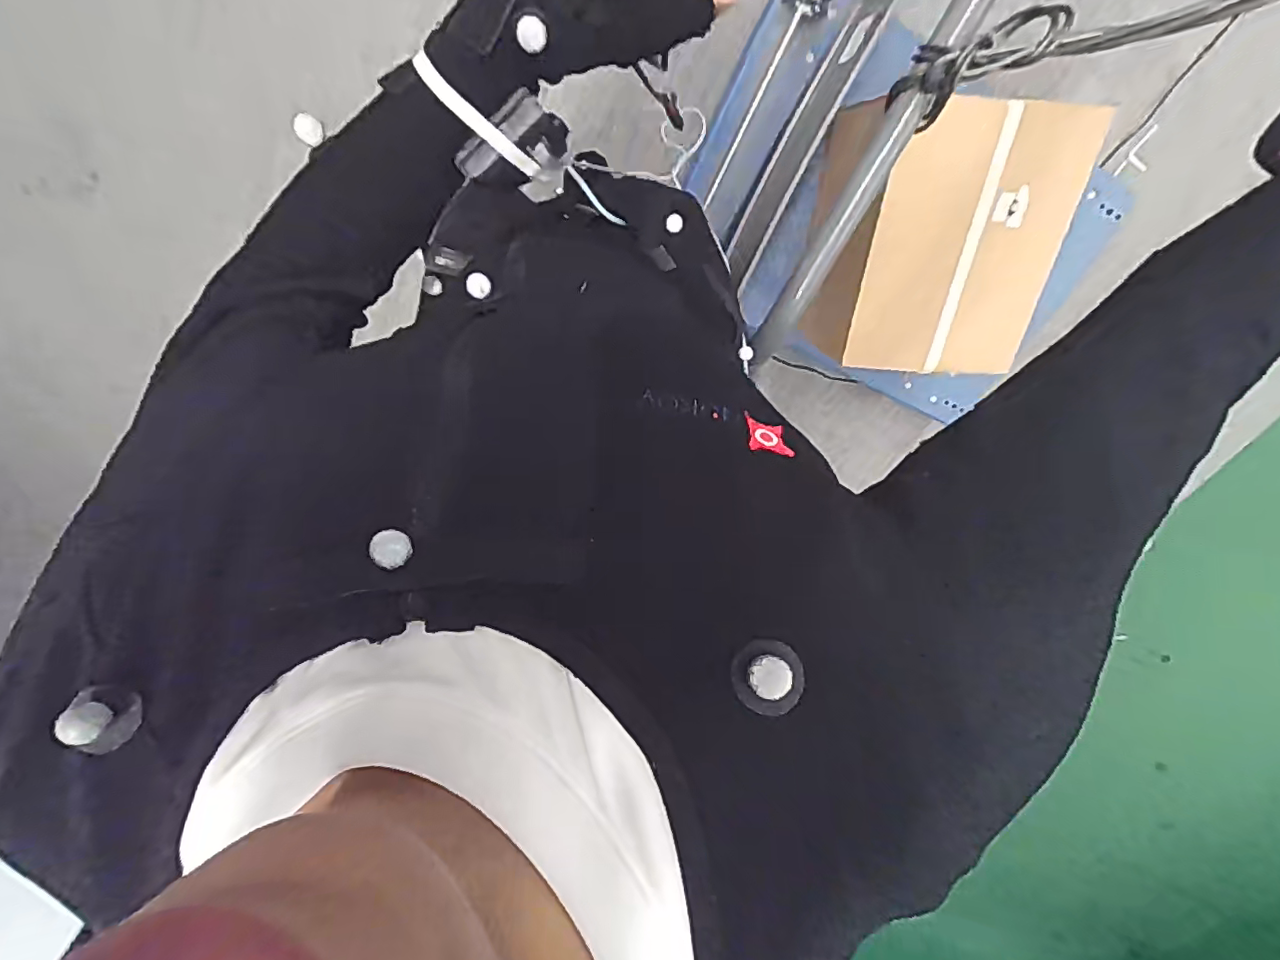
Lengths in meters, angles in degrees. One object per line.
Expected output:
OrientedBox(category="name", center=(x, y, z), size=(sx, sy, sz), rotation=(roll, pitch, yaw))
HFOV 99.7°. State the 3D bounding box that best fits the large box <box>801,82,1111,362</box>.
OrientedBox(category="large box", center=(0.523, -0.461, 1.005), size=(0.320, 0.320, 0.408), rotation=(2, 119, -4))
